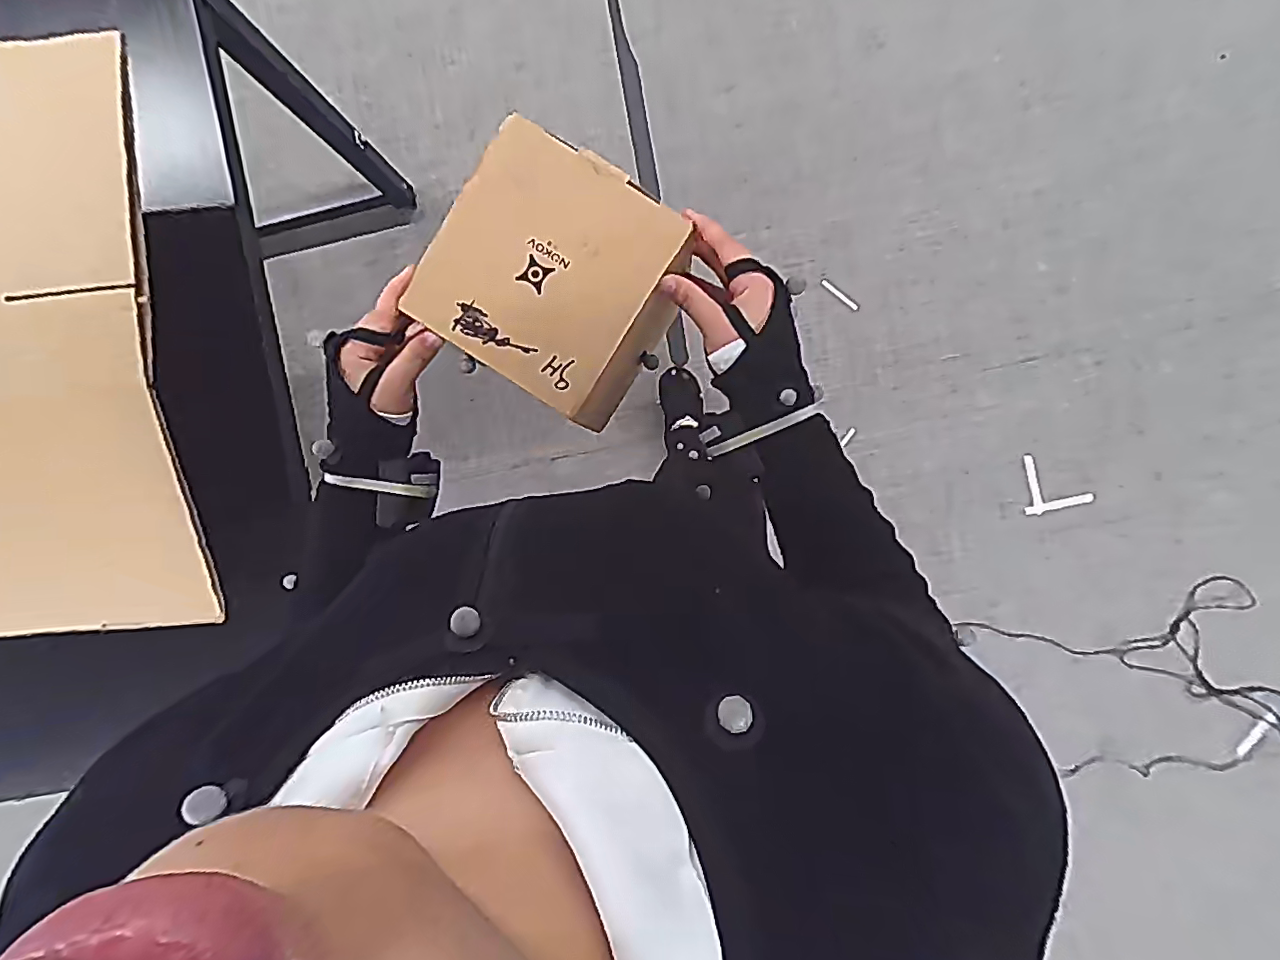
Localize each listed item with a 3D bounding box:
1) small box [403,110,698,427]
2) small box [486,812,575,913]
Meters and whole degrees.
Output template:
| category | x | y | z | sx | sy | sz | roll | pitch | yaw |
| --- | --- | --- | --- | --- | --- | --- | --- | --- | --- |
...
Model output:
| category | x | y | z | sx | sy | sz | roll | pitch | yaw |
| --- | --- | --- | --- | --- | --- | --- | --- | --- | --- |
| small box | -0.066 | -0.168 | 0.490 | 0.168 | 0.176 | 0.179 | 33 | 91 | 4 |
| small box | -0.289 | 1.038 | 1.458 | 0.179 | 0.176 | 0.168 | -14 | 91 | 3 |
